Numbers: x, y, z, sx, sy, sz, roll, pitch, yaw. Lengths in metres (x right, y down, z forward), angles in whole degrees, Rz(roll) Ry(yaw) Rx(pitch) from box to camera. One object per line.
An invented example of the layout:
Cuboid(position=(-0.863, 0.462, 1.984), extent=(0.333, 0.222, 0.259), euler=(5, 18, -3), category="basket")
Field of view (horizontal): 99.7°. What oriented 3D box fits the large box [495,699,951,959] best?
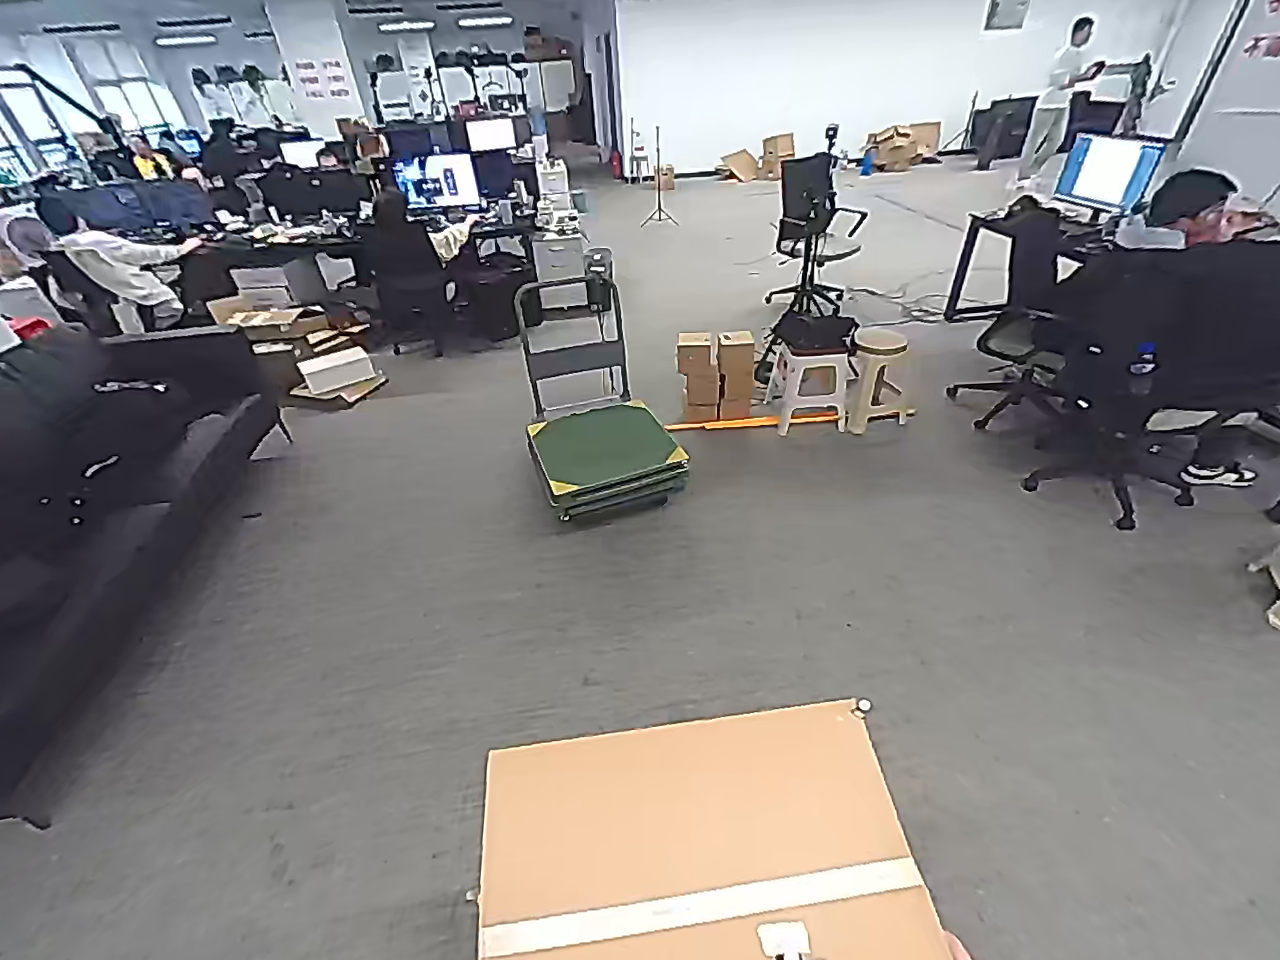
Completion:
Cuboid(position=(0.069, 0.483, 0.615), extent=(0.408, 0.320, 0.320), euler=(-8, 53, -3), category="large box")
